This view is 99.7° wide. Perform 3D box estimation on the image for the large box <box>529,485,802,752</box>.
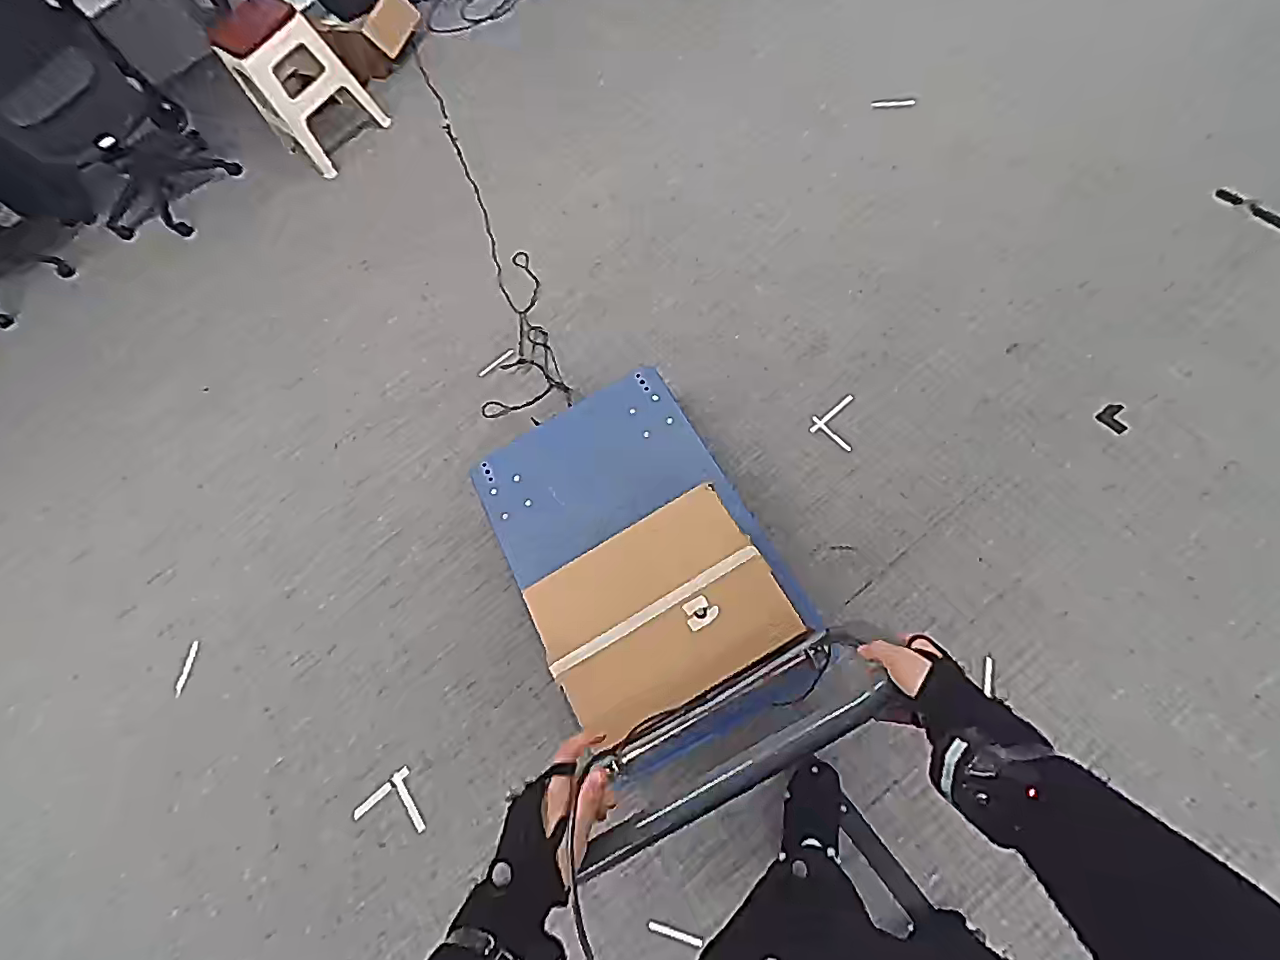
[{"bbox_3d":[0.059,0.283,1.083,0.408,0.320,0.320,-31,67,-1],"label":"large box"}]
